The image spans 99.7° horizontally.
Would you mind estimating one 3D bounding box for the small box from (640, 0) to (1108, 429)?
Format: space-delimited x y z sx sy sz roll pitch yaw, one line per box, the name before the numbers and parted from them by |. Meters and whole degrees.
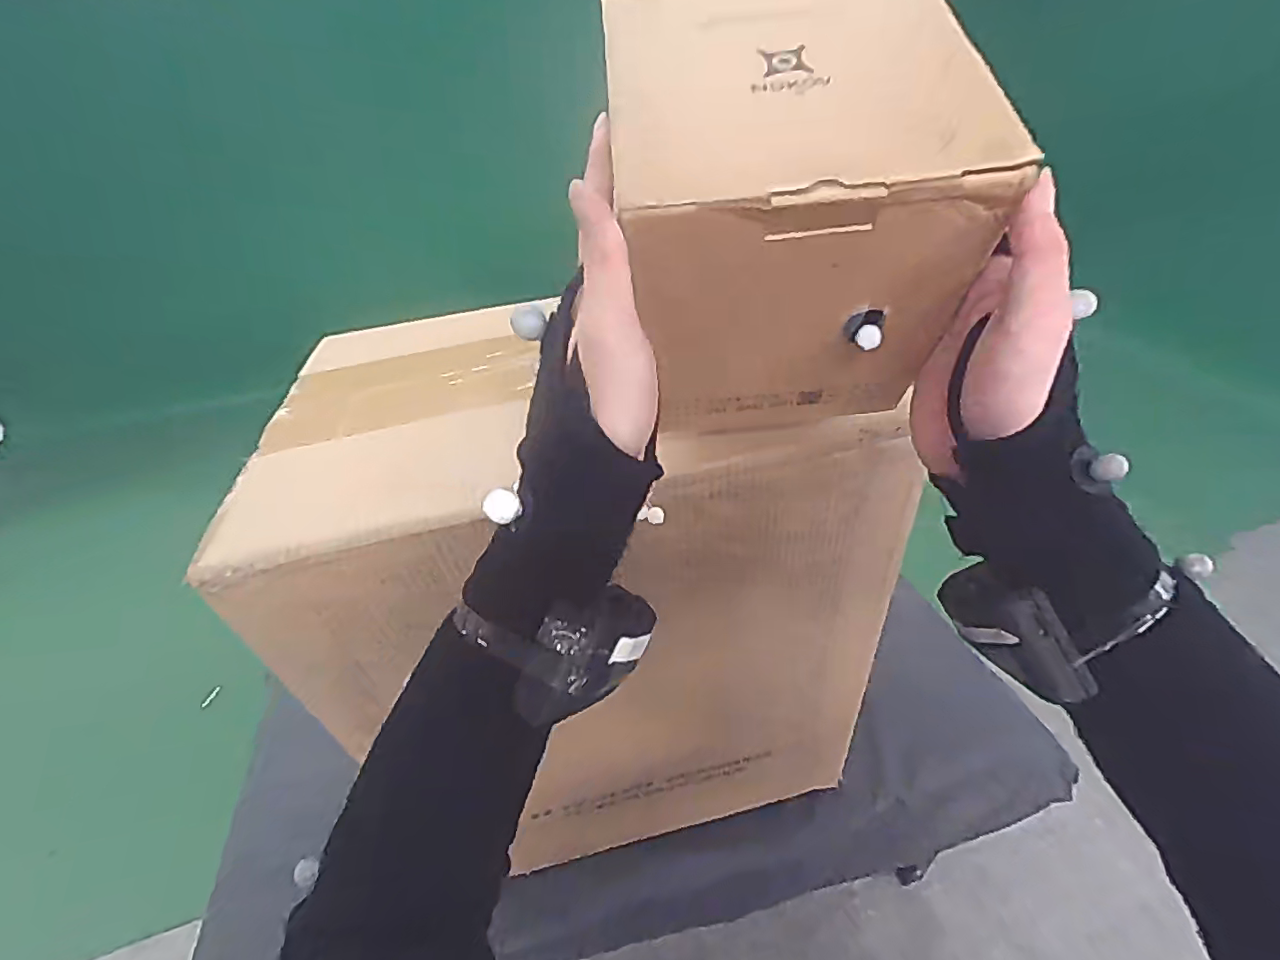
small box | 0.090 -0.140 0.307 0.168 0.176 0.179 -4 63 0
